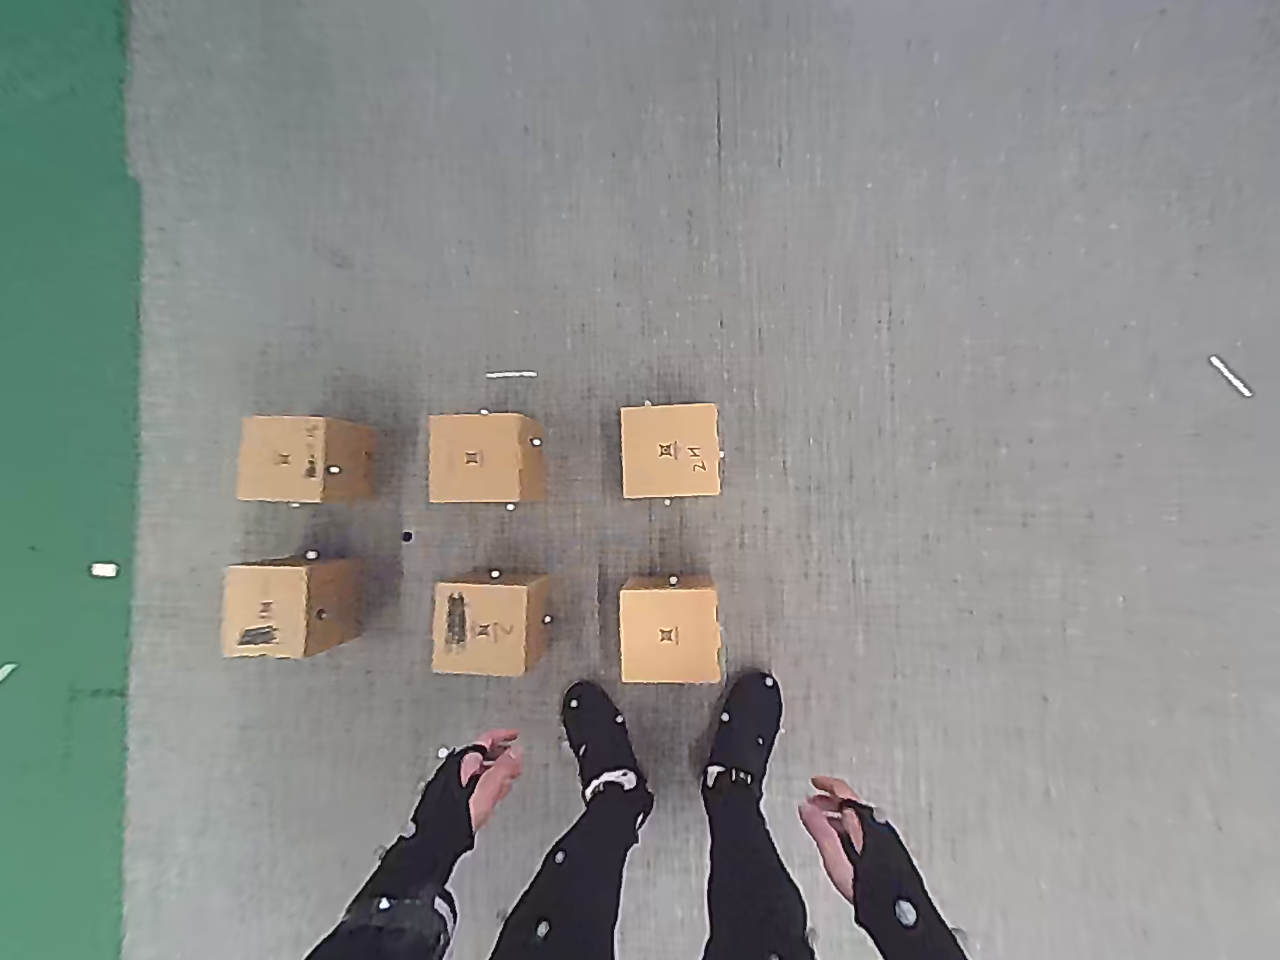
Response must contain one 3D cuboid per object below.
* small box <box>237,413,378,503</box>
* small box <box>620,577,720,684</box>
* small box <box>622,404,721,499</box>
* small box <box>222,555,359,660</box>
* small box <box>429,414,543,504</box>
[{"bbox_3d":[-0.670,-0.039,1.103,0.179,0.176,0.168,2,88,6],"label":"small box"},{"bbox_3d":[0.058,0.278,1.025,0.179,0.176,0.168,-1,87,4],"label":"small box"},{"bbox_3d":[0.062,-0.047,1.036,0.179,0.176,0.168,-2,88,5],"label":"small box"},{"bbox_3d":[-0.695,0.249,1.091,0.168,0.176,0.179,1,87,5],"label":"small box"},{"bbox_3d":[-0.294,-0.037,1.070,0.179,0.176,0.168,0,86,5],"label":"small box"}]
